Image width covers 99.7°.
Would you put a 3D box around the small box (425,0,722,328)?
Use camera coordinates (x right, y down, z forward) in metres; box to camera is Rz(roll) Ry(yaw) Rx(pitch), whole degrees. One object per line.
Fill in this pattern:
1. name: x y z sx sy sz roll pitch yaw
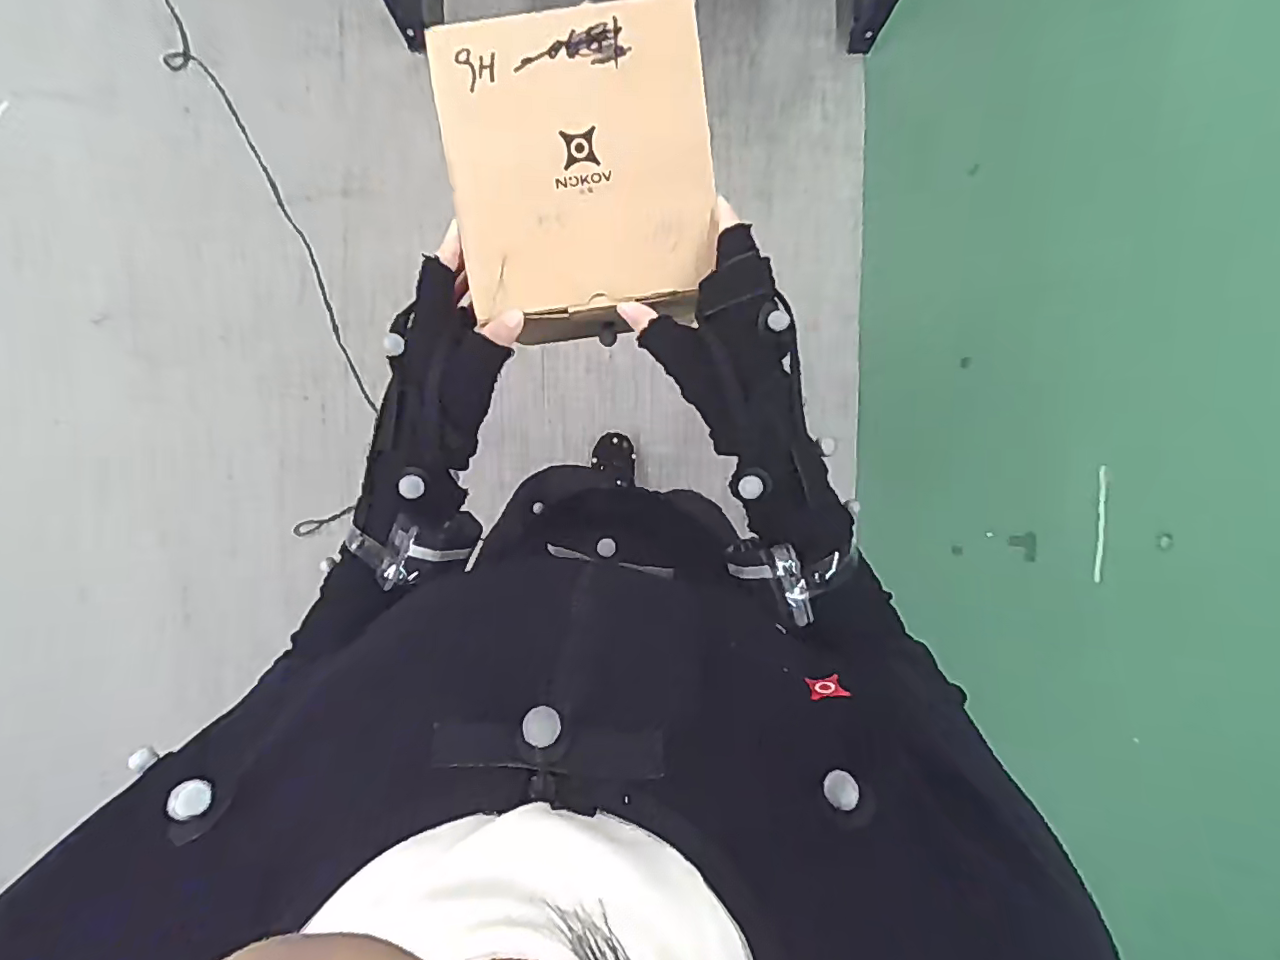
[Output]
1. small box: -0.036 -0.217 0.414 0.168 0.176 0.179 -8 101 2
